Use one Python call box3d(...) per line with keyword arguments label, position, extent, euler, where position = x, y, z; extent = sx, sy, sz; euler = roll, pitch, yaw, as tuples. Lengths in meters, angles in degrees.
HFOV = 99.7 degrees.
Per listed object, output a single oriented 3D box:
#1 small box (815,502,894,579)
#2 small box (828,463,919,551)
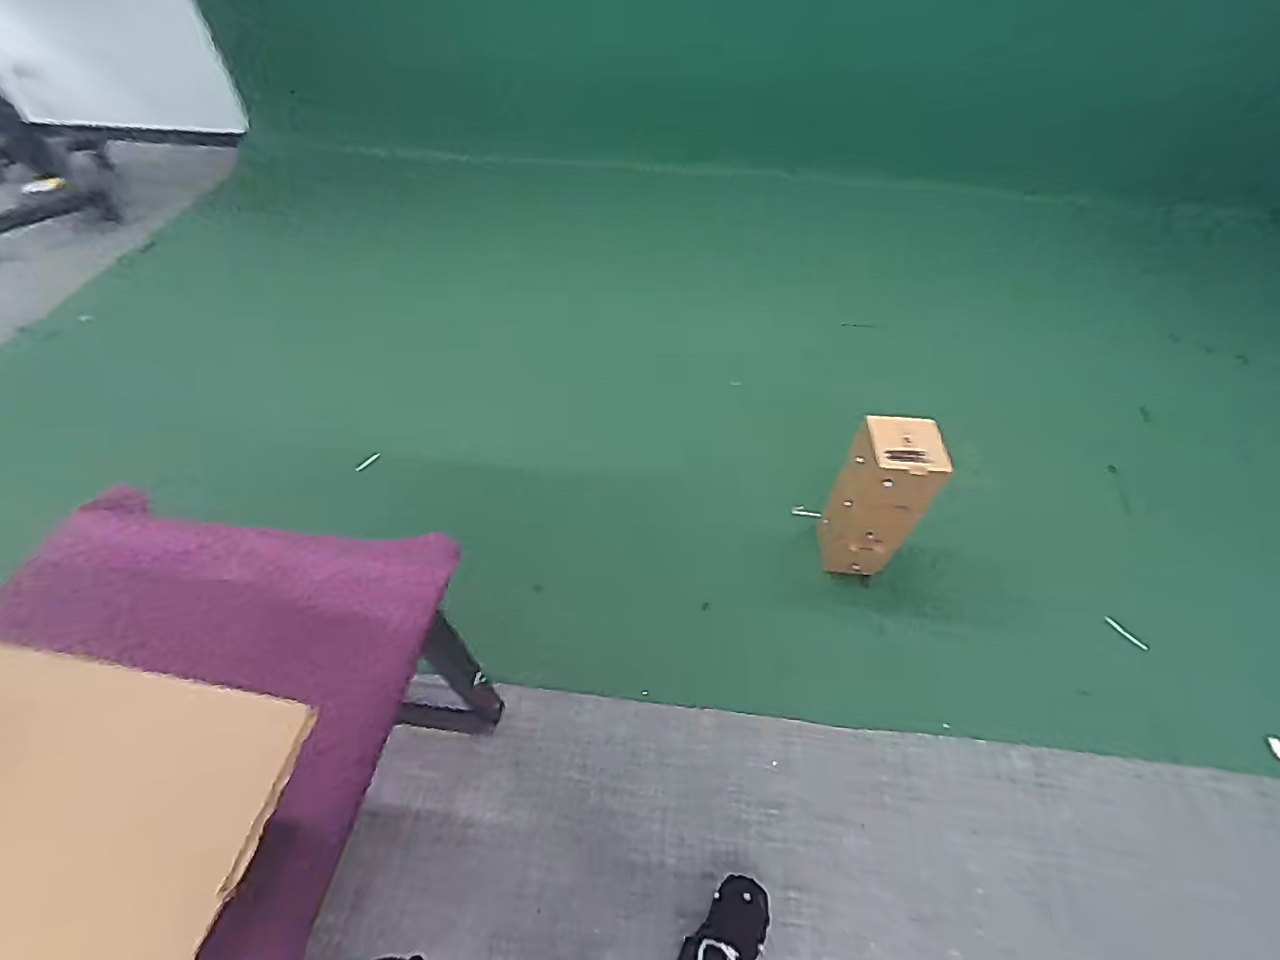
box3d(label="small box", position=(0.637, 0.177, 1.627), extent=(0.168, 0.176, 0.179), euler=(4, 51, 3))
box3d(label="small box", position=(0.637, 0.075, 1.501), extent=(0.168, 0.176, 0.179), euler=(3, 52, 1))
